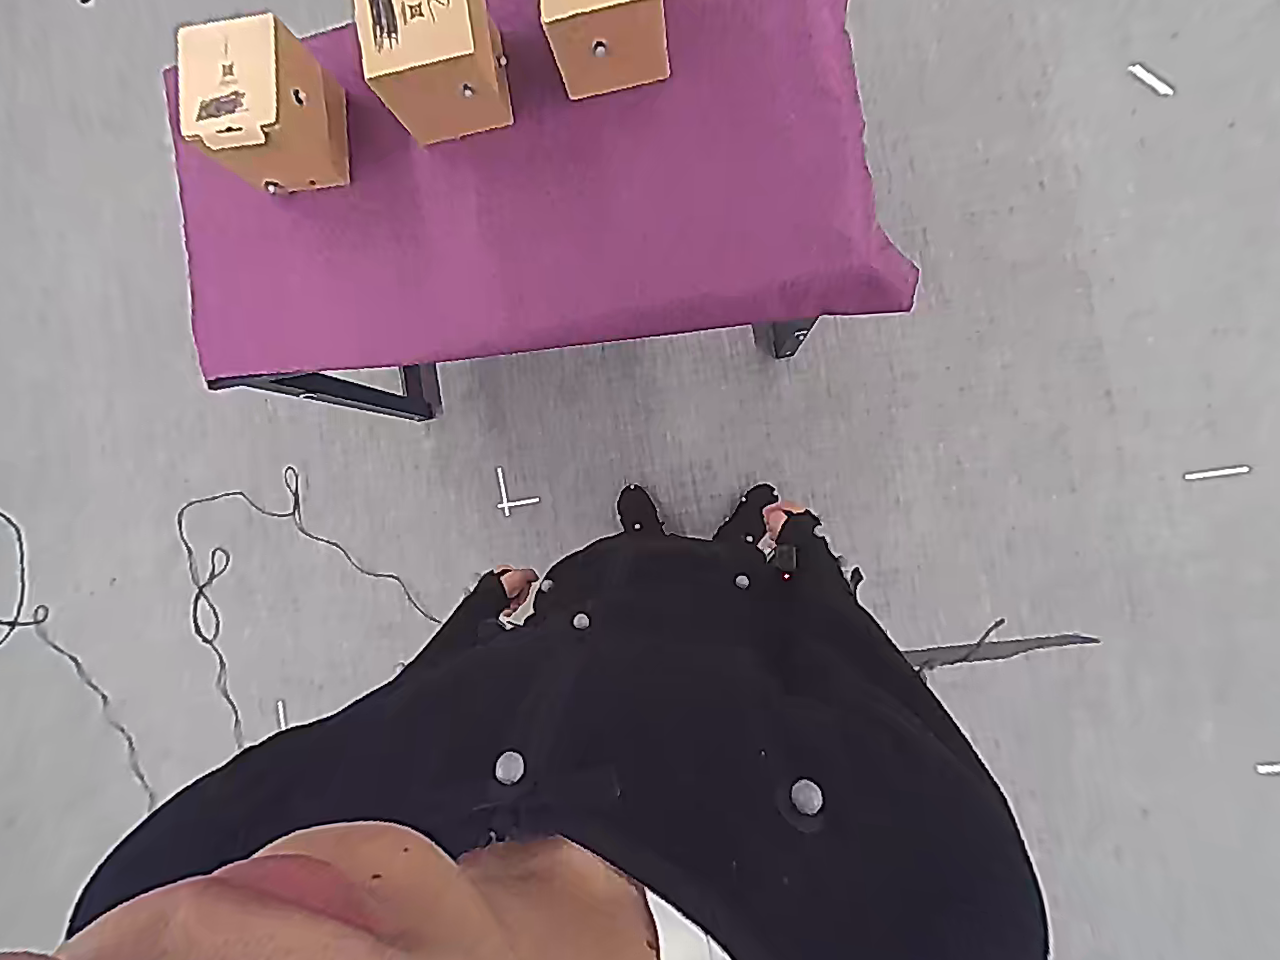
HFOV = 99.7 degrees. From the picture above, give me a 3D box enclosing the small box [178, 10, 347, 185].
[{"bbox_3d":[-0.615,-0.618,0.901,0.168,0.176,0.179,-3,90,6],"label":"small box"}]
